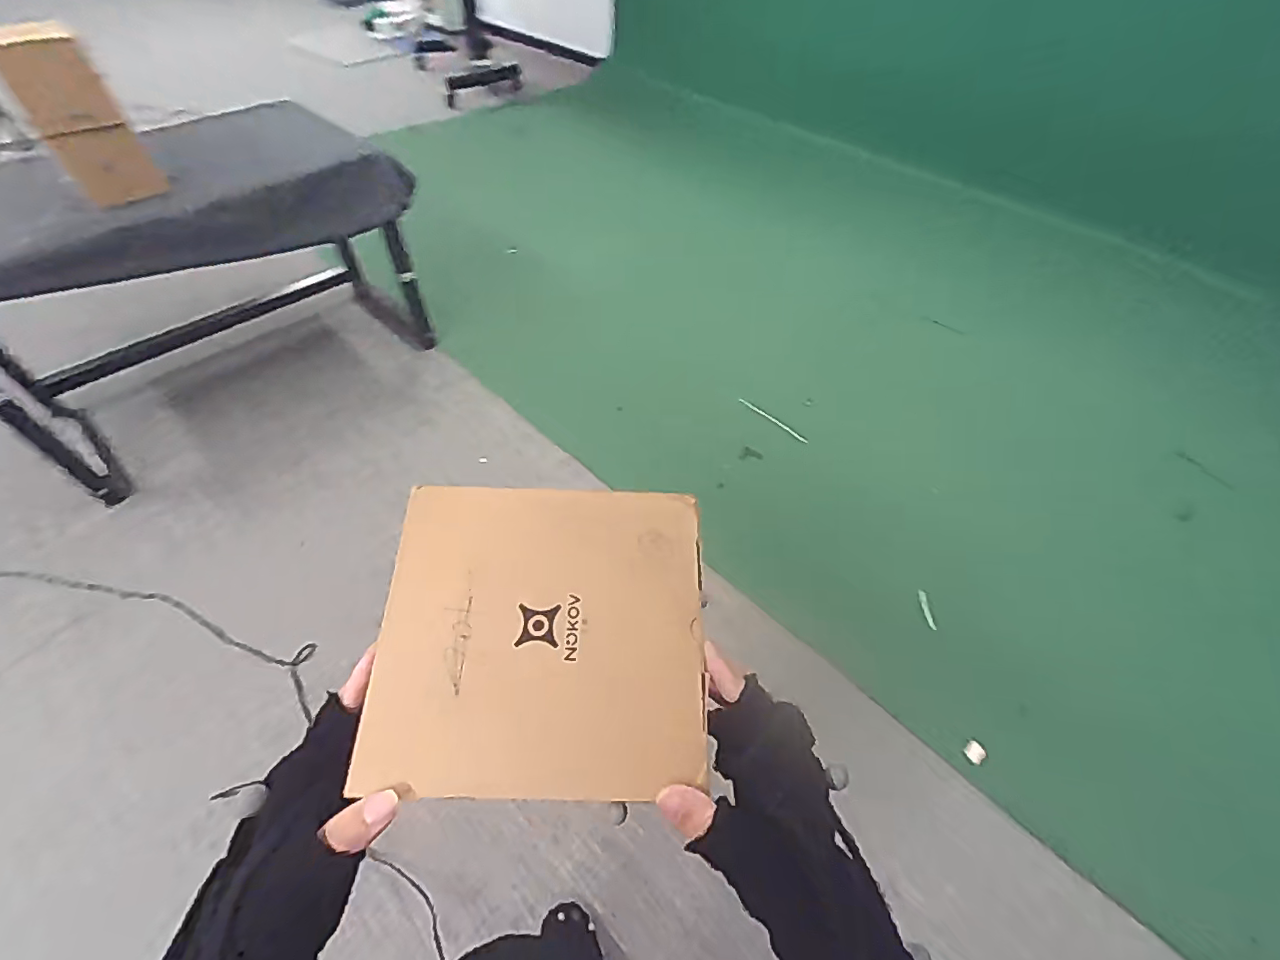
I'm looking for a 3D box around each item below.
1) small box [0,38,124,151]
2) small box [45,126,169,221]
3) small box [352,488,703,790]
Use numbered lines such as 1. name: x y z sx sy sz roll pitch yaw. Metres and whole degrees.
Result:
1. small box: -1.359 -0.895 1.255 0.179 0.176 0.168 -36 60 -28
2. small box: -1.364 -0.795 1.384 0.168 0.176 0.179 34 56 23
3. small box: -0.060 0.116 0.375 0.179 0.176 0.168 0 62 -3
